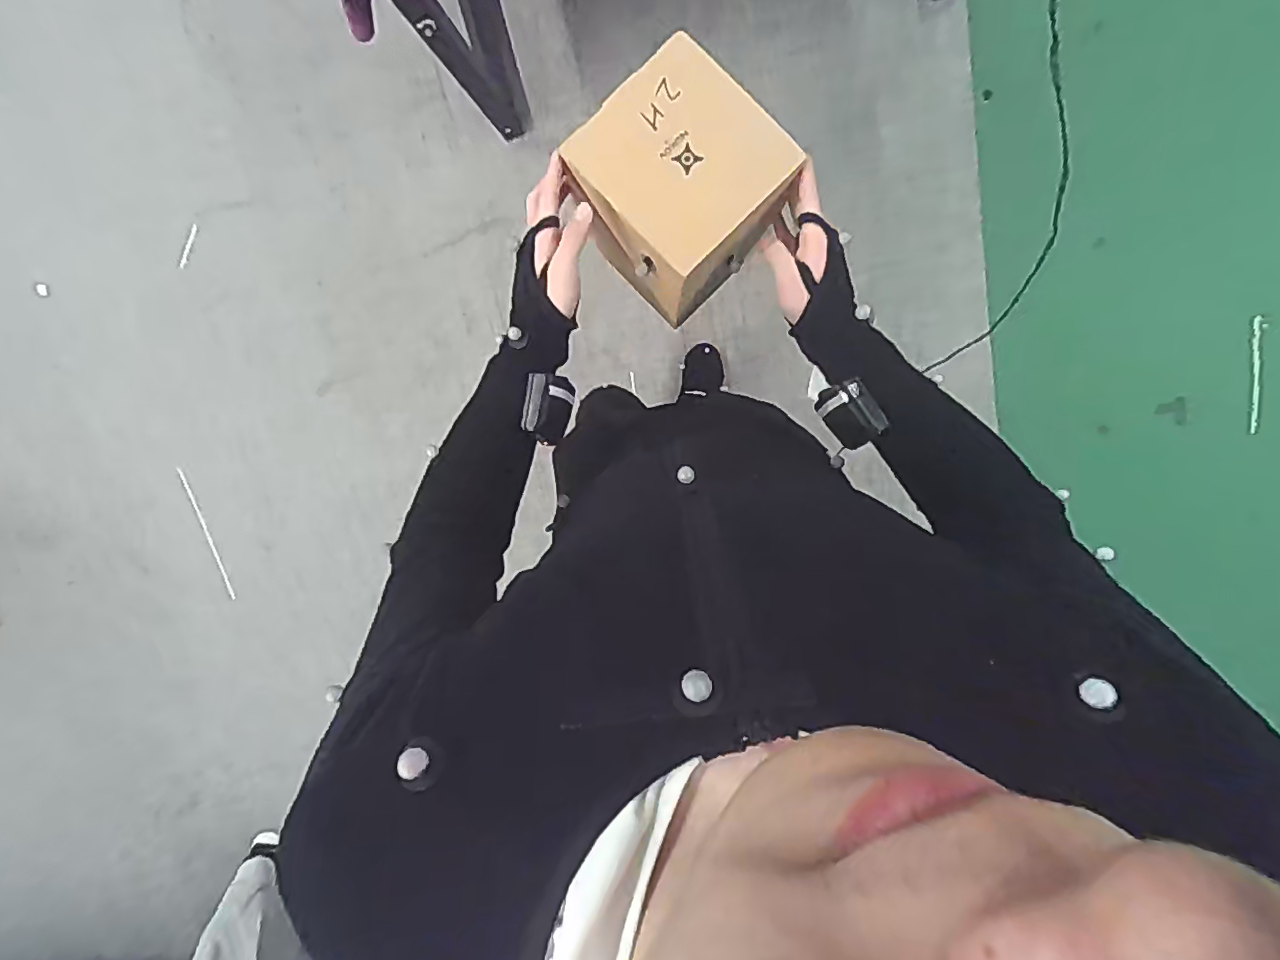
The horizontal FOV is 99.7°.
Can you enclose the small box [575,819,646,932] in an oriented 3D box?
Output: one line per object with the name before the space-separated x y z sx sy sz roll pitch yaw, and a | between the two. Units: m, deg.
small box | -0.077 1.095 1.506 0.168 0.176 0.179 9 102 3
